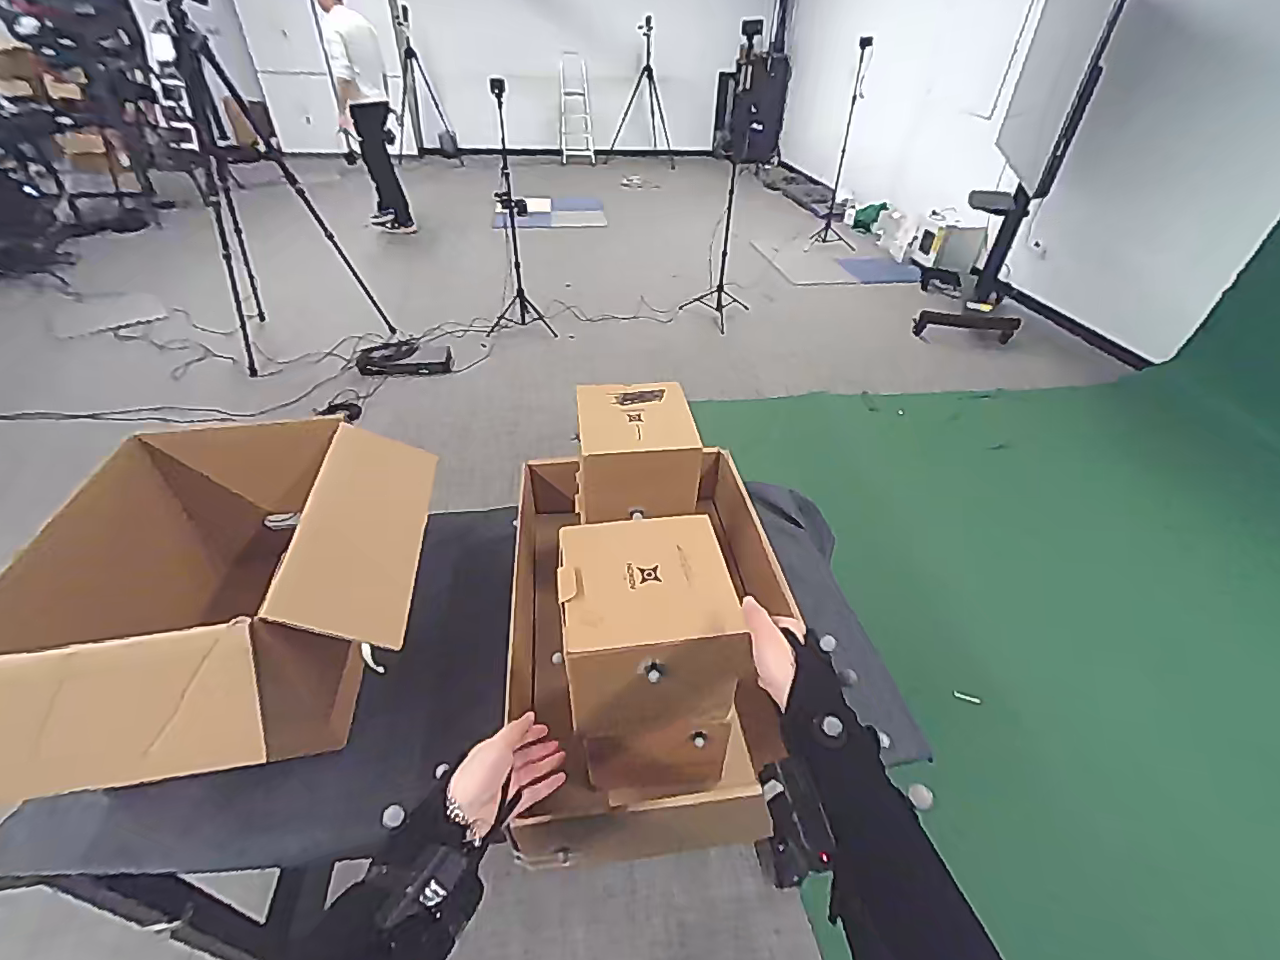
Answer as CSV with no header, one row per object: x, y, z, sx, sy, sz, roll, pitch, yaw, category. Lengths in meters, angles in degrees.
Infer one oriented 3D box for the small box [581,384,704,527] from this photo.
-0.006,-0.030,0.835,0.168,0.176,0.179,-4,42,-7,small box

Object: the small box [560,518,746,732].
0.005,0.164,0.613,0.179,0.176,0.168,-4,41,-7,small box
